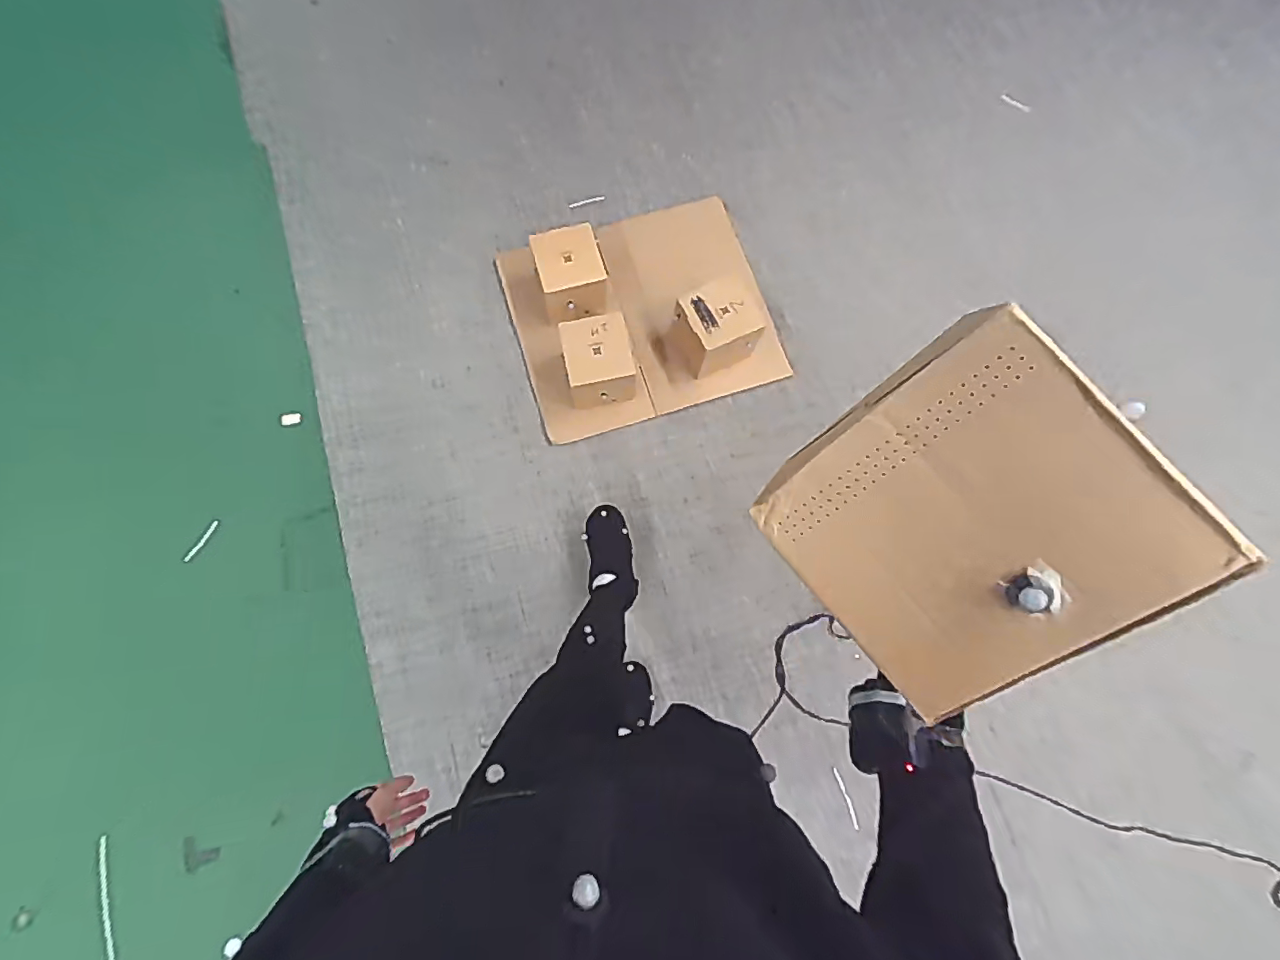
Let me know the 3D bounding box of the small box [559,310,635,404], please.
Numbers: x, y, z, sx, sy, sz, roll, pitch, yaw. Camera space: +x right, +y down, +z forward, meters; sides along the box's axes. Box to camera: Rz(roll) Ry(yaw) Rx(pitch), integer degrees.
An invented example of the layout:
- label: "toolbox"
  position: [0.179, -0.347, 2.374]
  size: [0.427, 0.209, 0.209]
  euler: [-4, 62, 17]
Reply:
- label: "small box"
  position: [-0.107, -0.308, 1.402]
  size: [0.168, 0.176, 0.179]
  euler: [-11, 77, -5]

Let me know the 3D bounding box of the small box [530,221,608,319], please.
- label: "small box"
  position: [-0.185, -0.555, 1.459]
  size: [0.168, 0.176, 0.179]
  euler: [-16, 77, -5]
